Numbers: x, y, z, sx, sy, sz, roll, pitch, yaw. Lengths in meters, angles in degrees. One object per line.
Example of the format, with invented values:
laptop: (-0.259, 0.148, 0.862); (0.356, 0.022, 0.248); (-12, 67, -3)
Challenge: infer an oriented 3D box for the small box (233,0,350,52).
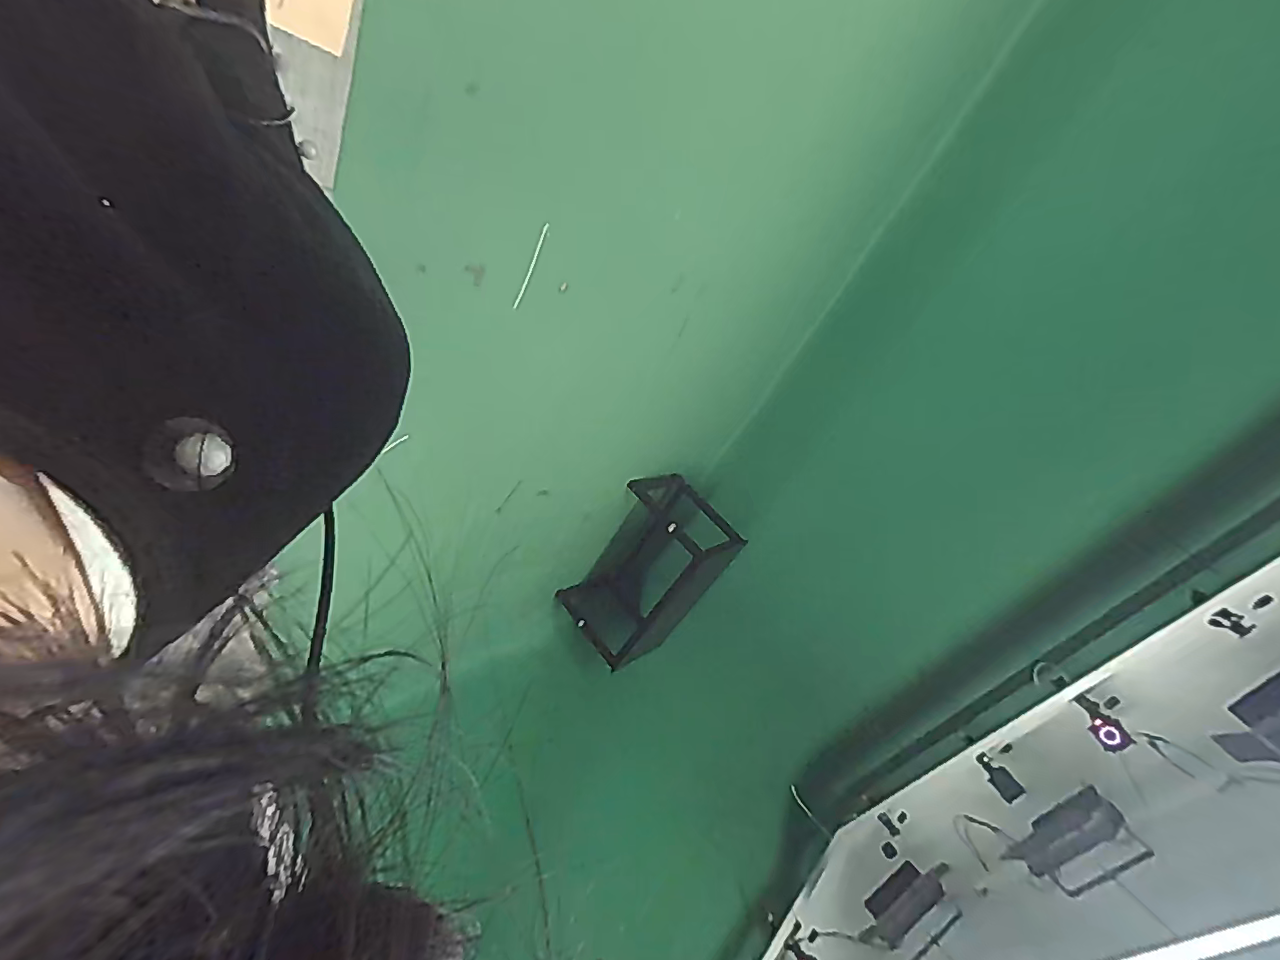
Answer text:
small box: (-0.492, -0.724, 0.704); (0.168, 0.176, 0.179); (-11, 142, -52)
